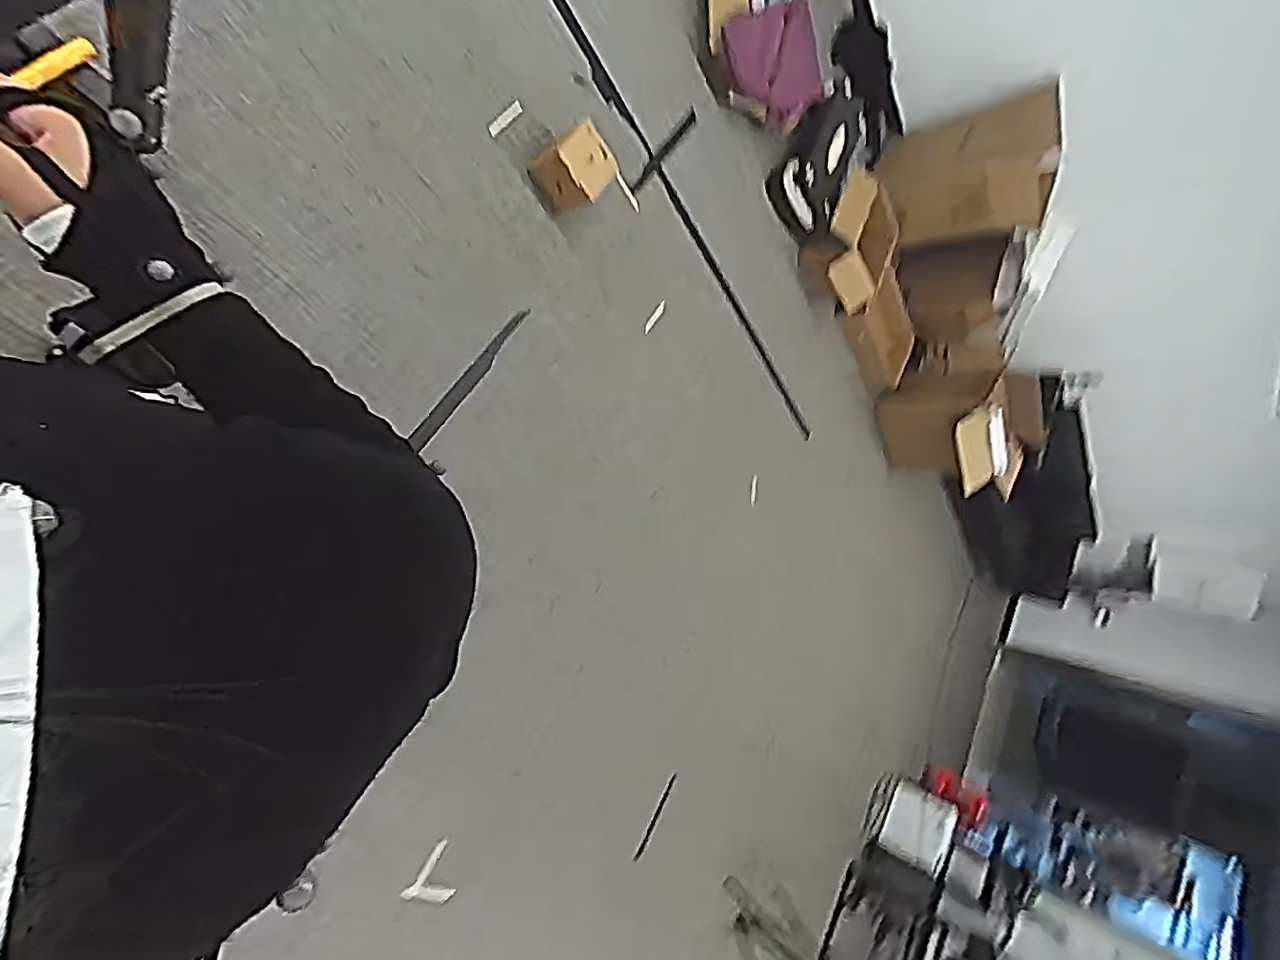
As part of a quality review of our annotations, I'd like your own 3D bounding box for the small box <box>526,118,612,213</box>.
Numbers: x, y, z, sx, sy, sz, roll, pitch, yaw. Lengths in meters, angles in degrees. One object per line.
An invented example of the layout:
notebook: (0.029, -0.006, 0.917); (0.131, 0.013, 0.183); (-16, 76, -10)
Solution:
small box: (-0.228, -0.968, 1.679); (0.168, 0.176, 0.179); (46, 65, -36)
